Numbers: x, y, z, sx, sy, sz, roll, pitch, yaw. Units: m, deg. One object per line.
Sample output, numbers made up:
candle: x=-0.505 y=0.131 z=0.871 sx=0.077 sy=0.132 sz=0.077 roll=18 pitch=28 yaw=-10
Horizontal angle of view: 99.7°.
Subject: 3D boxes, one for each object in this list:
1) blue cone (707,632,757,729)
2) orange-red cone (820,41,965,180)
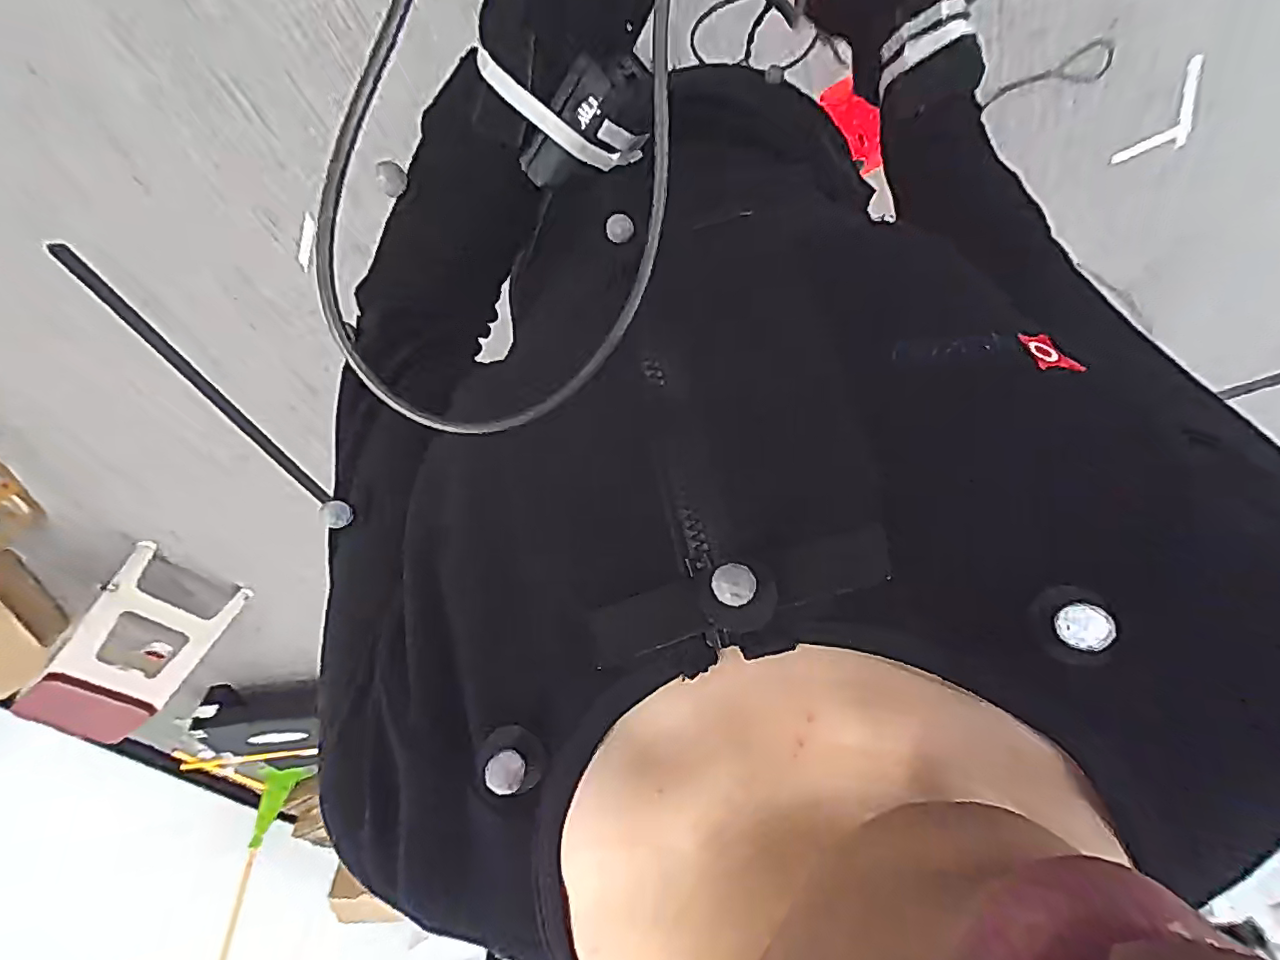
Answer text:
blue cone: x=0.417 y=0.848 z=2.254 sx=0.193 sy=0.380 sz=0.192 roll=-23 pitch=127 yaw=15
orange-red cone: x=0.498 y=-0.658 z=1.005 sx=0.199 sy=0.360 sz=0.198 roll=-22 pitch=127 yaw=16
